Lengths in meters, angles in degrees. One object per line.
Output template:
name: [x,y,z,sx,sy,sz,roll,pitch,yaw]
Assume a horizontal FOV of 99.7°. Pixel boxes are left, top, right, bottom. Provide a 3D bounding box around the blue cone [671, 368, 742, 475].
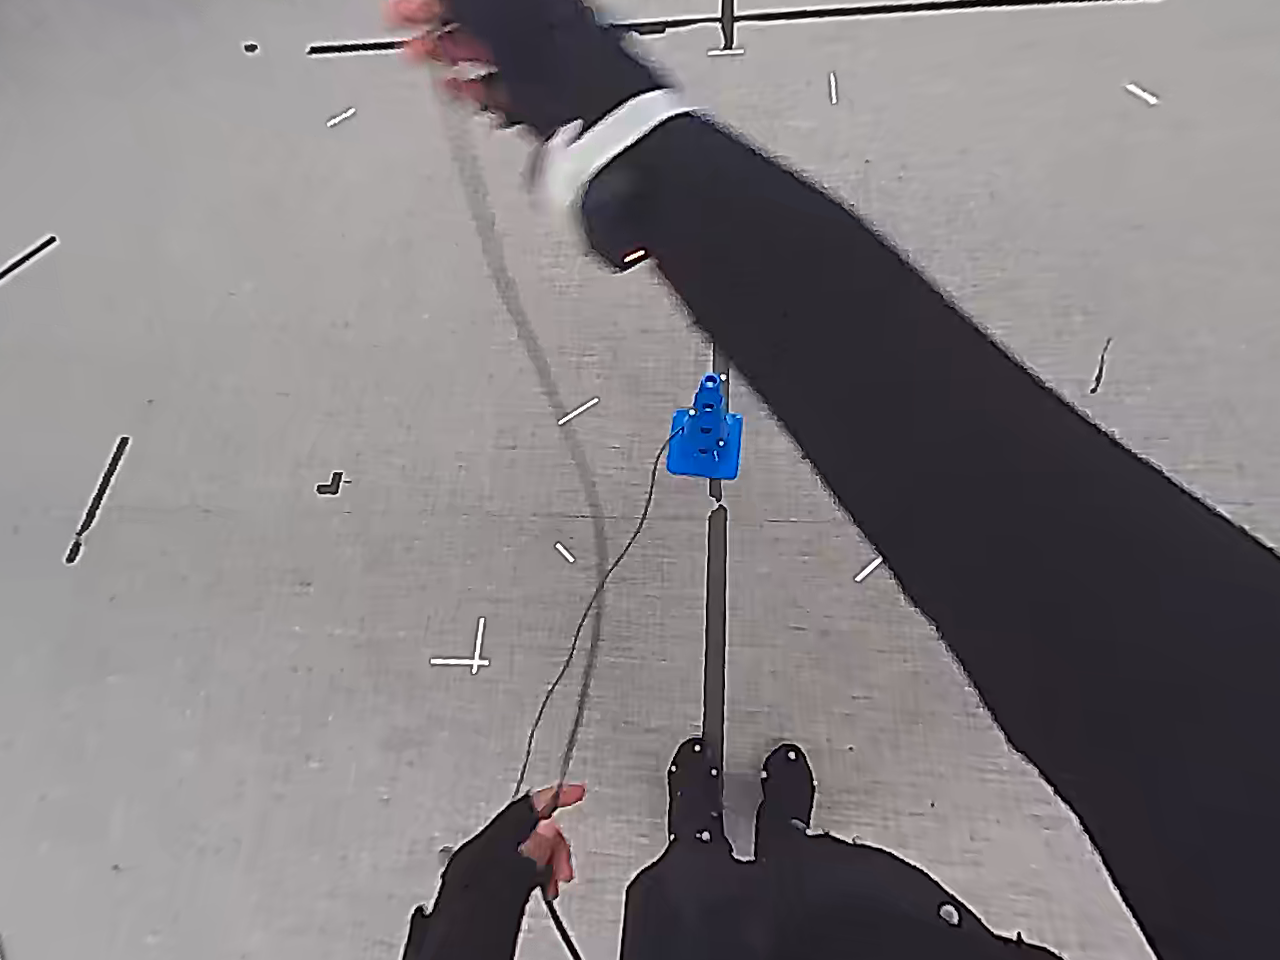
blue cone: [0.169,-0.159,1.339,0.193,0.380,0.192,4,72,7]
